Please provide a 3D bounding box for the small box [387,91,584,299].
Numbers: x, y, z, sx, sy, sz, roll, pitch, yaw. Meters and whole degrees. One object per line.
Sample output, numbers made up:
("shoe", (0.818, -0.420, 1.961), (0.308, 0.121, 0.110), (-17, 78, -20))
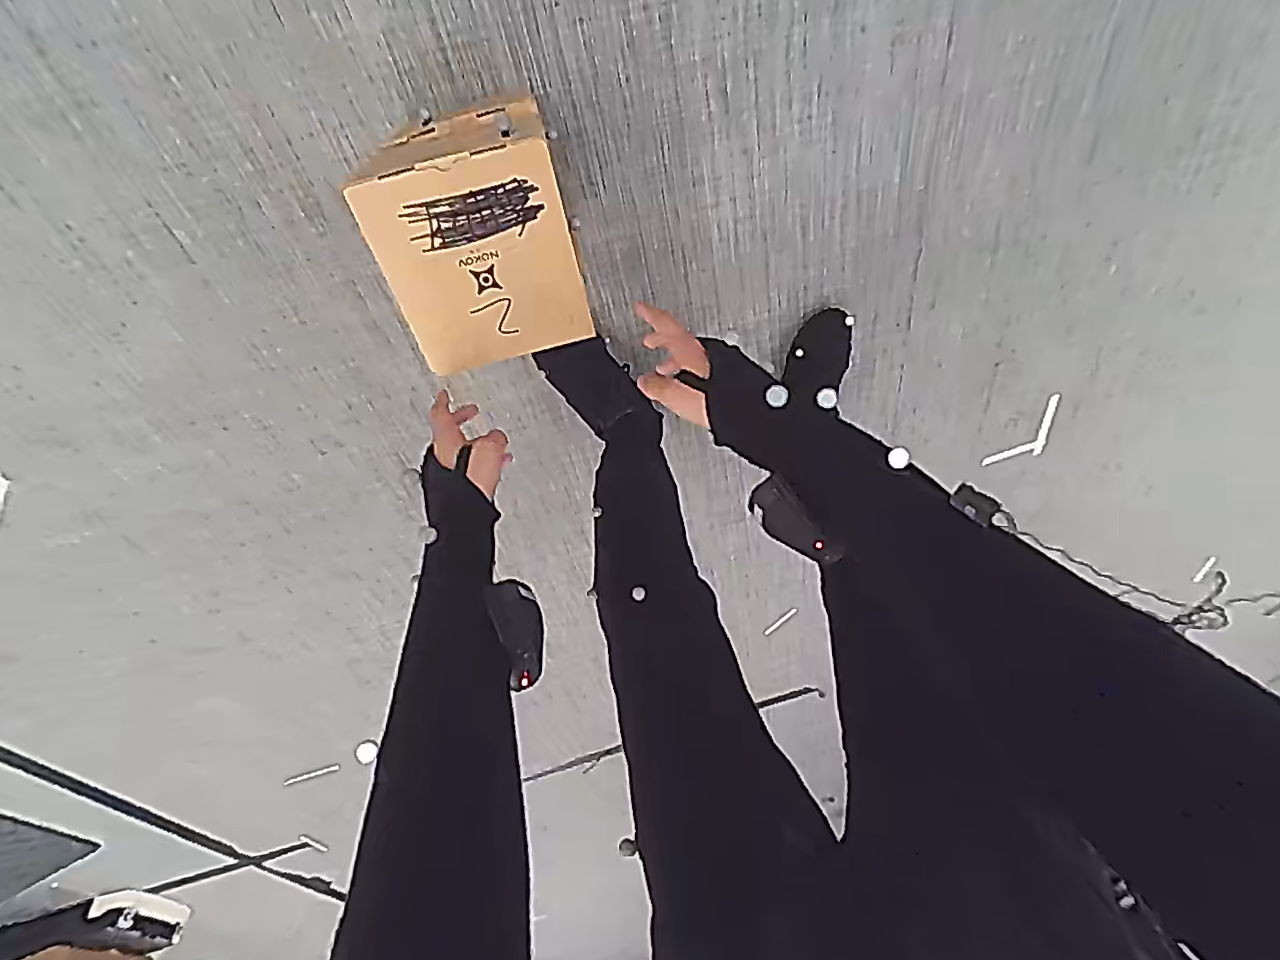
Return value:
("small box", (-0.178, -0.352, 0.661), (0.168, 0.176, 0.179), (-17, 130, 0))
